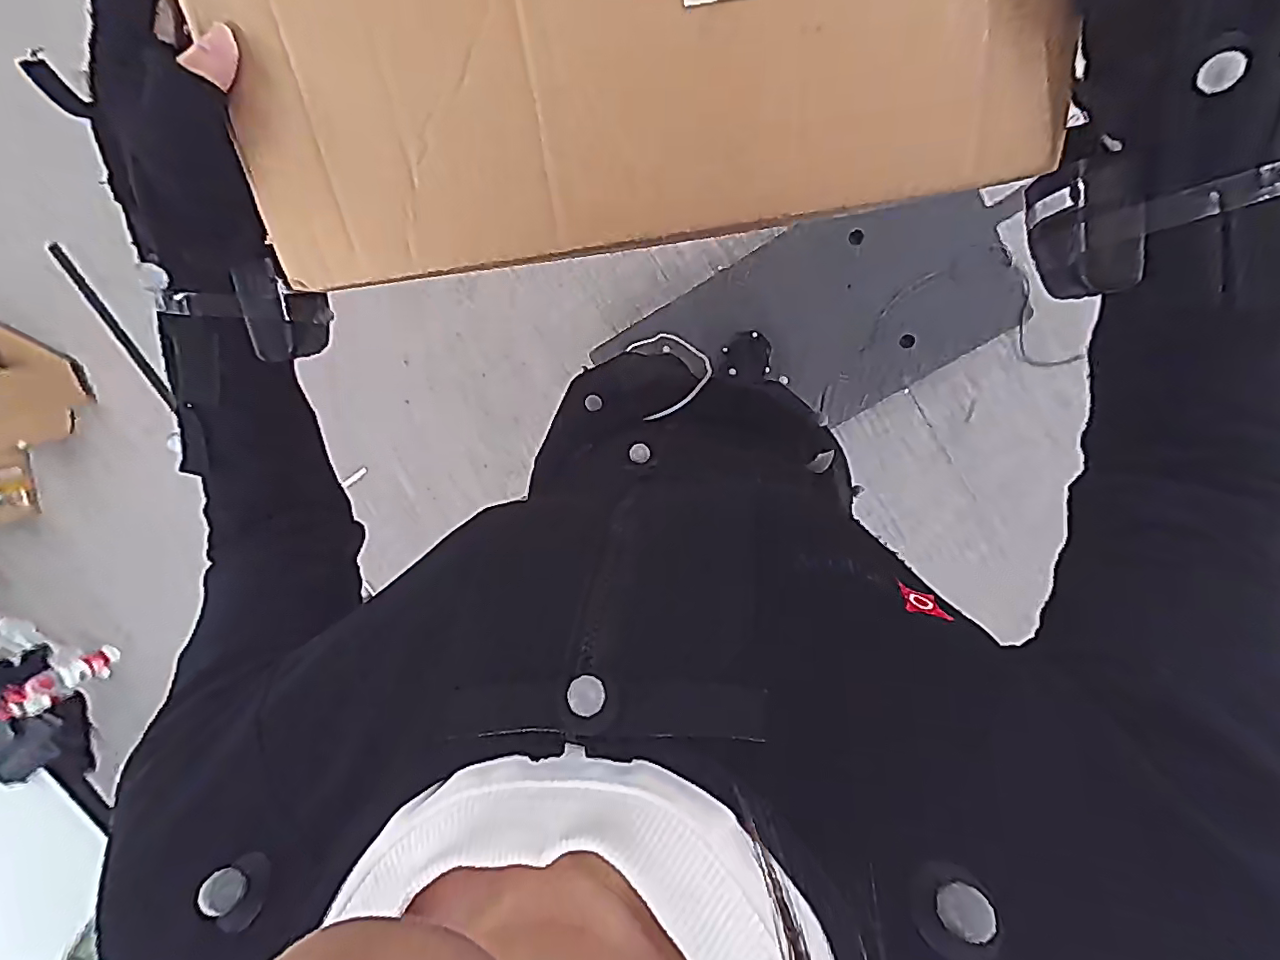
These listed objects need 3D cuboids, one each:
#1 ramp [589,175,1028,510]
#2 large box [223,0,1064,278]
[{"bbox_3d":[0.412,-0.371,1.370,0.991,0.206,0.509,-30,97,17],"label":"ramp"},{"bbox_3d":[-0.003,-0.338,0.372,0.408,0.320,0.320,-5,114,9],"label":"large box"}]
